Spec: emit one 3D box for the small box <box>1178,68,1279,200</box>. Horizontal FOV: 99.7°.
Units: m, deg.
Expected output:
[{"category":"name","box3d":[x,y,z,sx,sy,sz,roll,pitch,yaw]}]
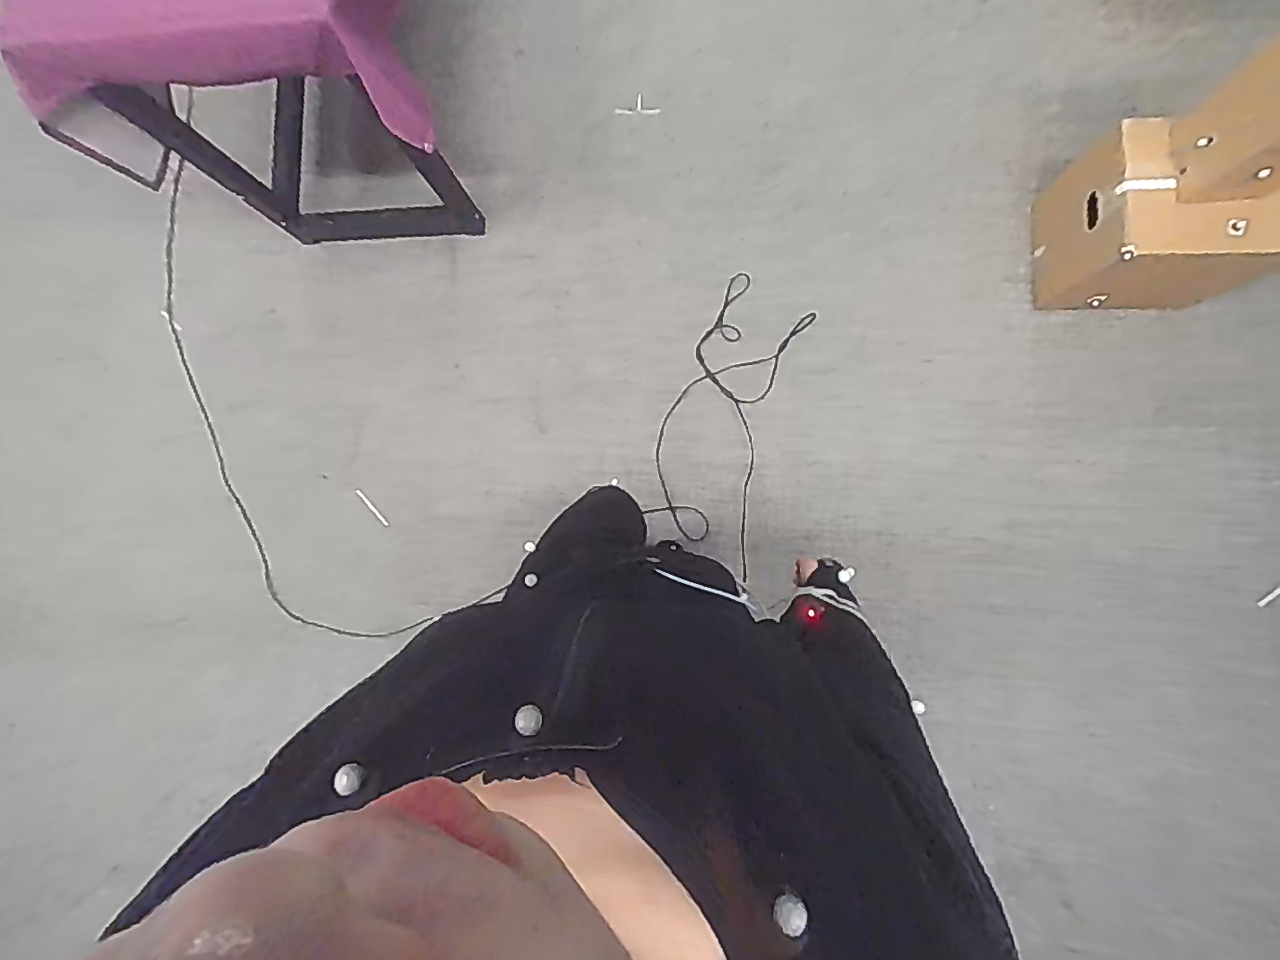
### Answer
[{"category":"small box","box3d":[1.226,-0.681,1.071,0.179,0.176,0.168,-2,85,5]}]
